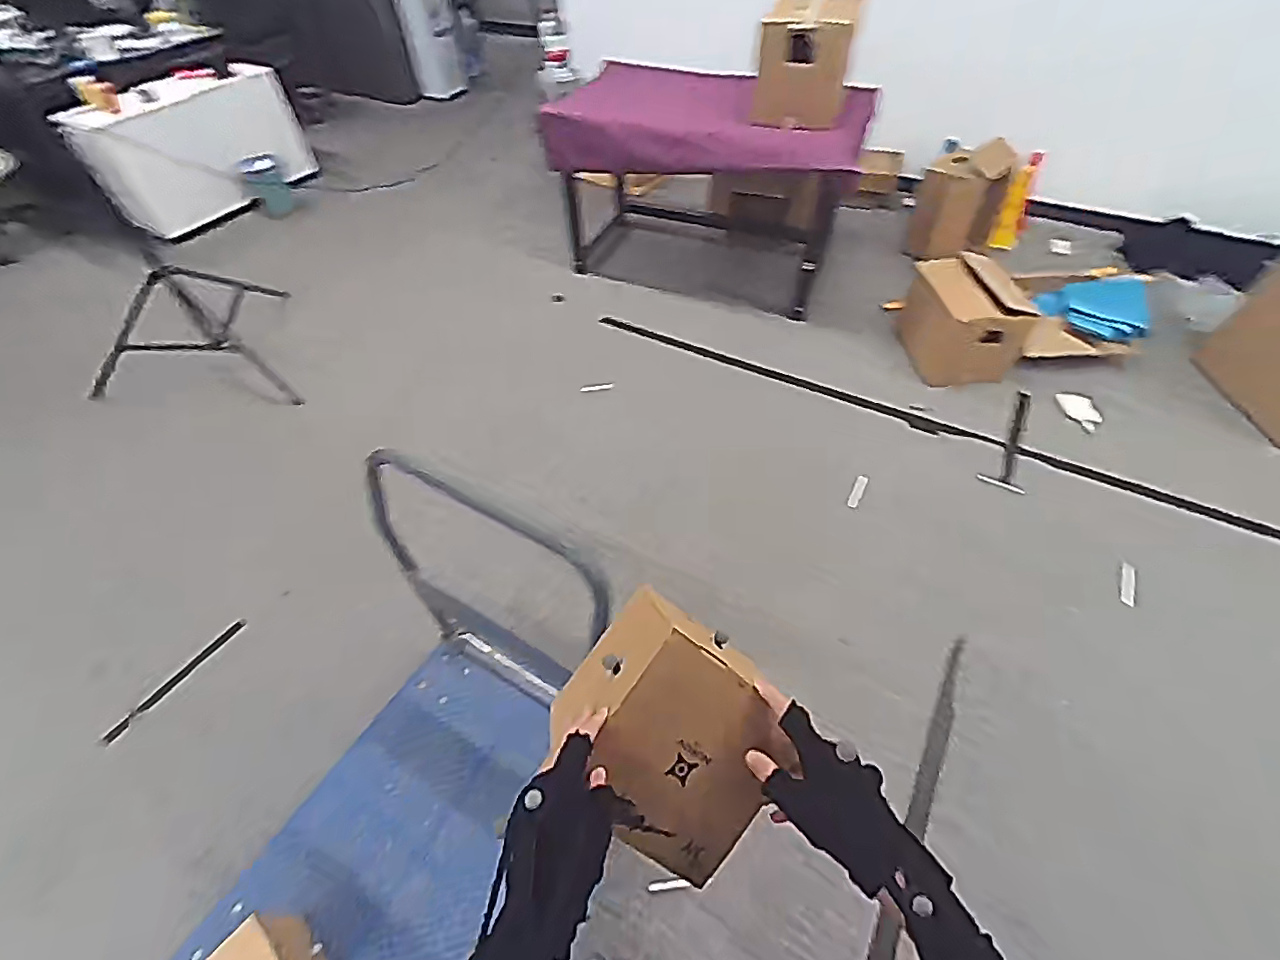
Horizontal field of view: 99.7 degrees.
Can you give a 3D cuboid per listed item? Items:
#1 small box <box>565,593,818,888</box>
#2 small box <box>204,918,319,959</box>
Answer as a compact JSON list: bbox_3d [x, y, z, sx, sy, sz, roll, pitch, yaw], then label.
[{"bbox_3d":[0.035,0.239,0.547,0.168,0.176,0.179,38,85,-8],"label":"small box"},{"bbox_3d":[-0.657,0.883,0.900,0.168,0.176,0.179,33,57,25],"label":"small box"}]
